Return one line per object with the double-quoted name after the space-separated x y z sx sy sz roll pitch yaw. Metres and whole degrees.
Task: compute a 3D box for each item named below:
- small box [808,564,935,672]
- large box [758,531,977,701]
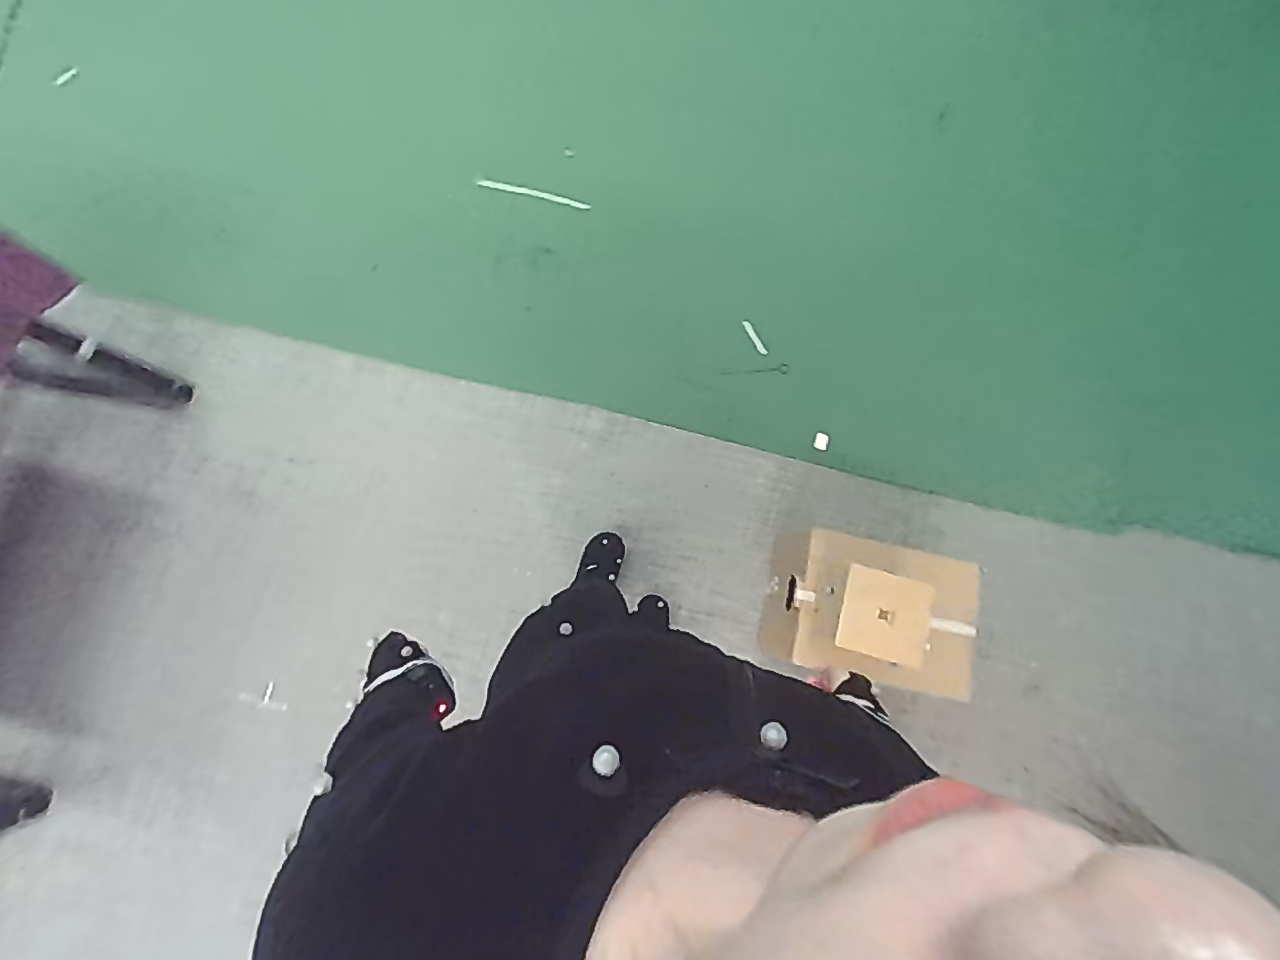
0.470 0.280 1.123 0.179 0.176 0.168 17 80 0 "small box"
0.549 0.332 1.365 0.408 0.320 0.320 13 79 0 "large box"
